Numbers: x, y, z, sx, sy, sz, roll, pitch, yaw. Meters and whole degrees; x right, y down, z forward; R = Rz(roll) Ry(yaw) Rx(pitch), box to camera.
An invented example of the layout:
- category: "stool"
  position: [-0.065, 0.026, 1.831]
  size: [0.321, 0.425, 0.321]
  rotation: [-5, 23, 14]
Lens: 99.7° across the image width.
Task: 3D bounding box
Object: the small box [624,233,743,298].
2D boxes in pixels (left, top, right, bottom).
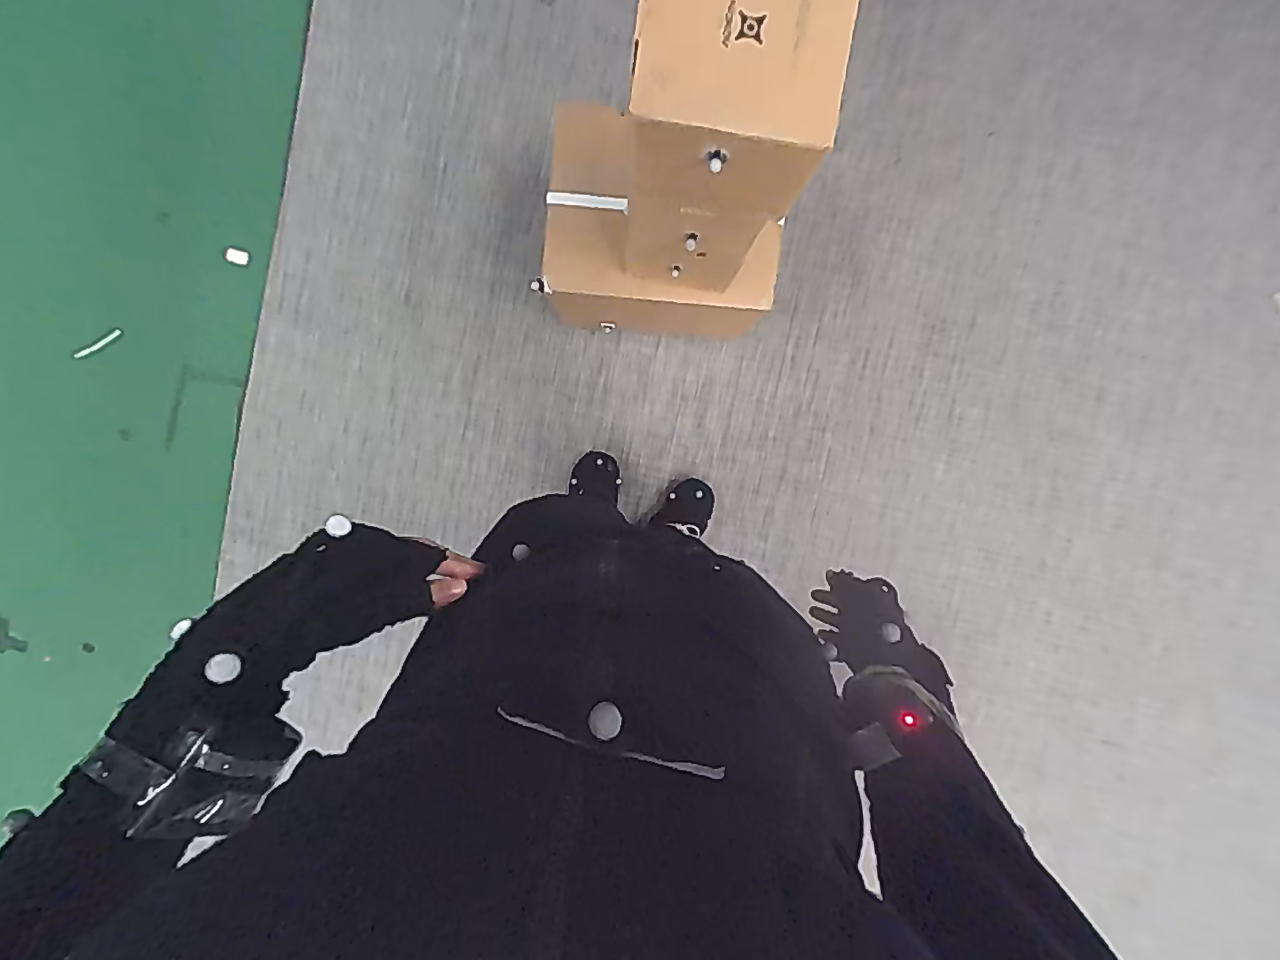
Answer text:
- category: "small box"
  position: [0.074, -0.401, 0.859]
  size: [0.179, 0.176, 0.168]
  rotation: [10, 94, -1]

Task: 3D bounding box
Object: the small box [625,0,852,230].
- category: "small box"
  position: [0.083, -0.368, 0.536]
  size: [0.179, 0.176, 0.168]
  rotation: [8, 95, -2]

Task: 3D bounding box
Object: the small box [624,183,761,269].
- category: "small box"
  position: [0.074, -0.389, 0.697]
  size: [0.168, 0.176, 0.179]
  rotation: [7, 95, -1]
